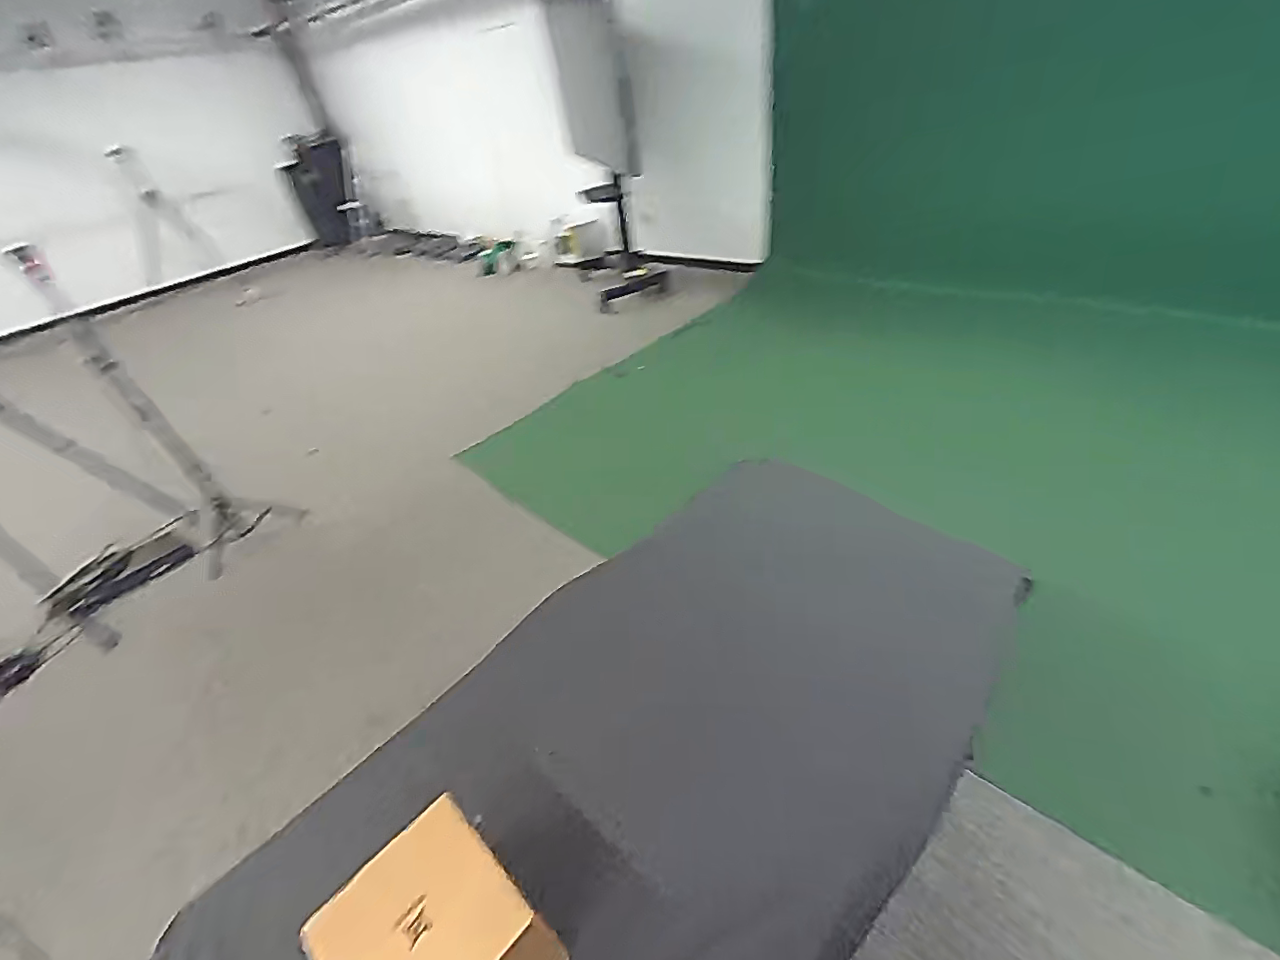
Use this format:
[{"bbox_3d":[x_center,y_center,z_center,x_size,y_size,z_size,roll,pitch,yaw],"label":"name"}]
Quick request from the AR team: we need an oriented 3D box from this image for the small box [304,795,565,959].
[{"bbox_3d":[-0.204,0.489,0.572,0.179,0.176,0.168,24,49,37],"label":"small box"}]
